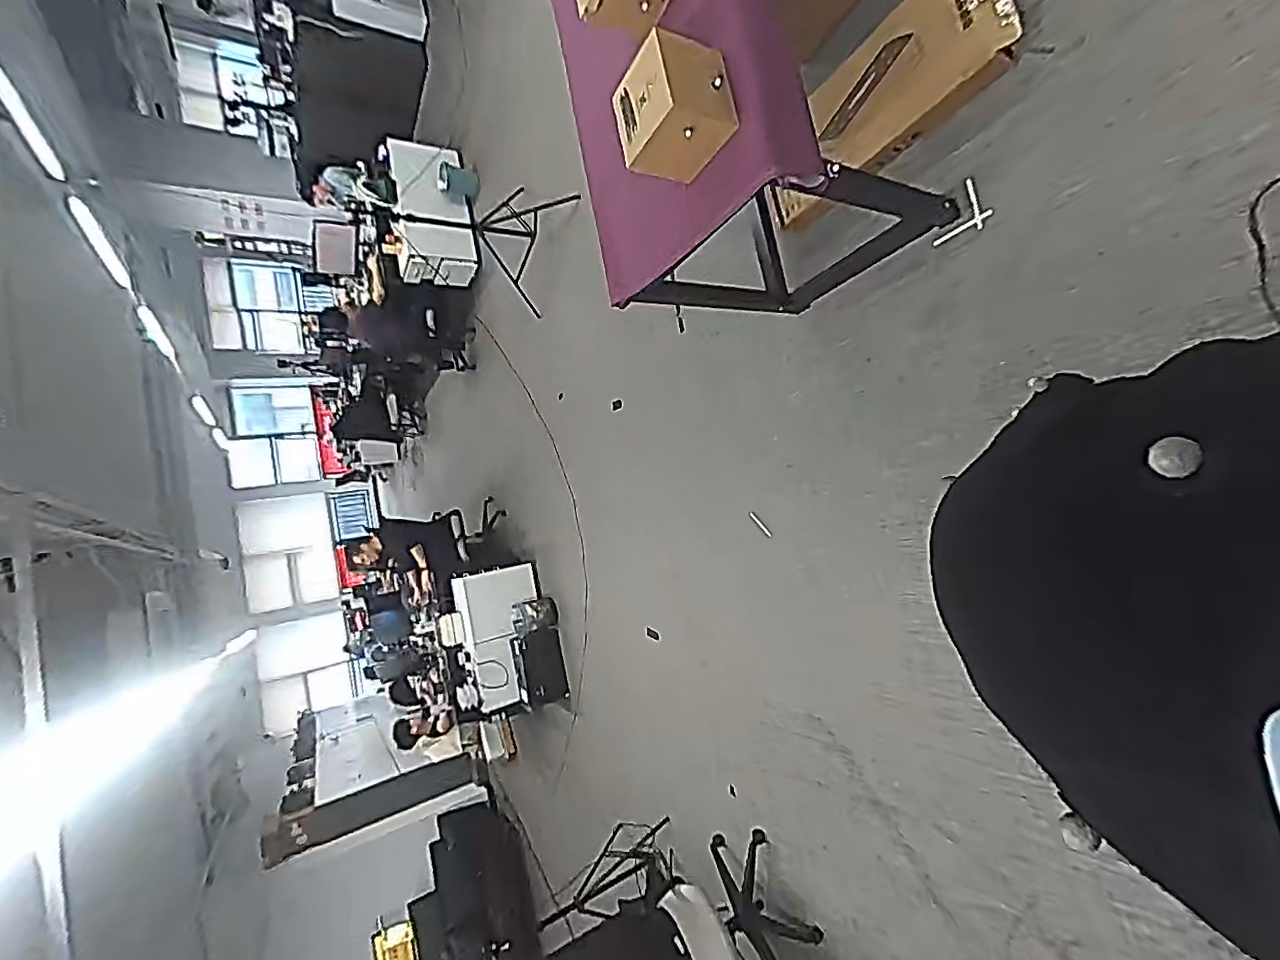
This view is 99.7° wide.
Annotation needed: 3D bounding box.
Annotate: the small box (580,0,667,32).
[{"bbox_3d":[-0.032,-1.126,1.166,0.168,0.176,0.179,-23,78,60],"label":"small box"}]
